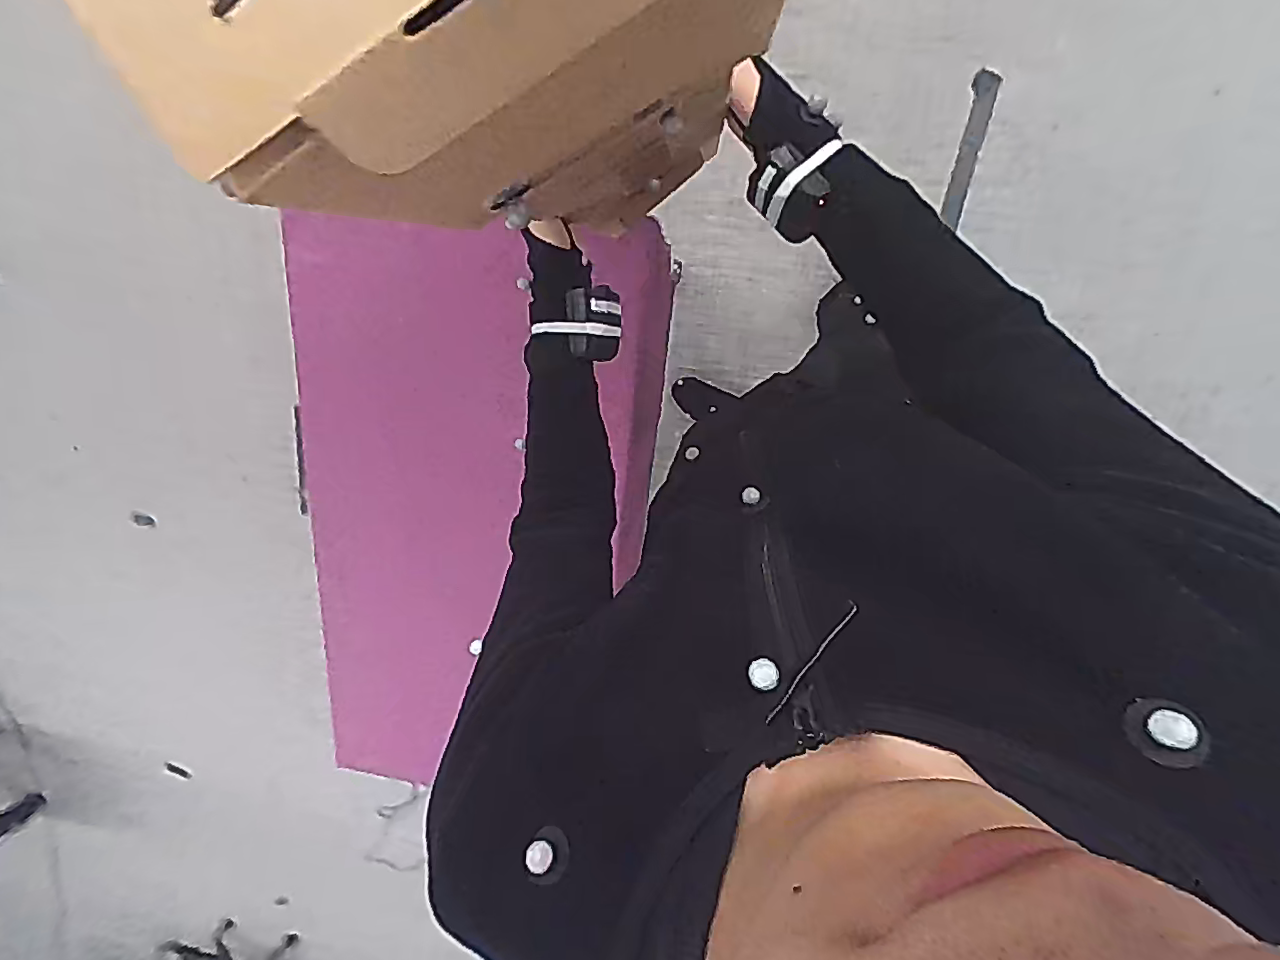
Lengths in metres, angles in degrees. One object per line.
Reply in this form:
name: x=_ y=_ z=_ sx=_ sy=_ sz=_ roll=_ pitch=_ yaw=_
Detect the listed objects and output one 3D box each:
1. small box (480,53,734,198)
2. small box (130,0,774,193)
small box: x=-0.049 y=-0.283 z=0.306 sx=0.168 sy=0.176 sz=0.179 roll=-24 pitch=107 yaw=13
small box: x=-0.055 y=-0.209 z=0.159 sx=0.168 sy=0.176 sz=0.179 roll=-25 pitch=107 yaw=13
